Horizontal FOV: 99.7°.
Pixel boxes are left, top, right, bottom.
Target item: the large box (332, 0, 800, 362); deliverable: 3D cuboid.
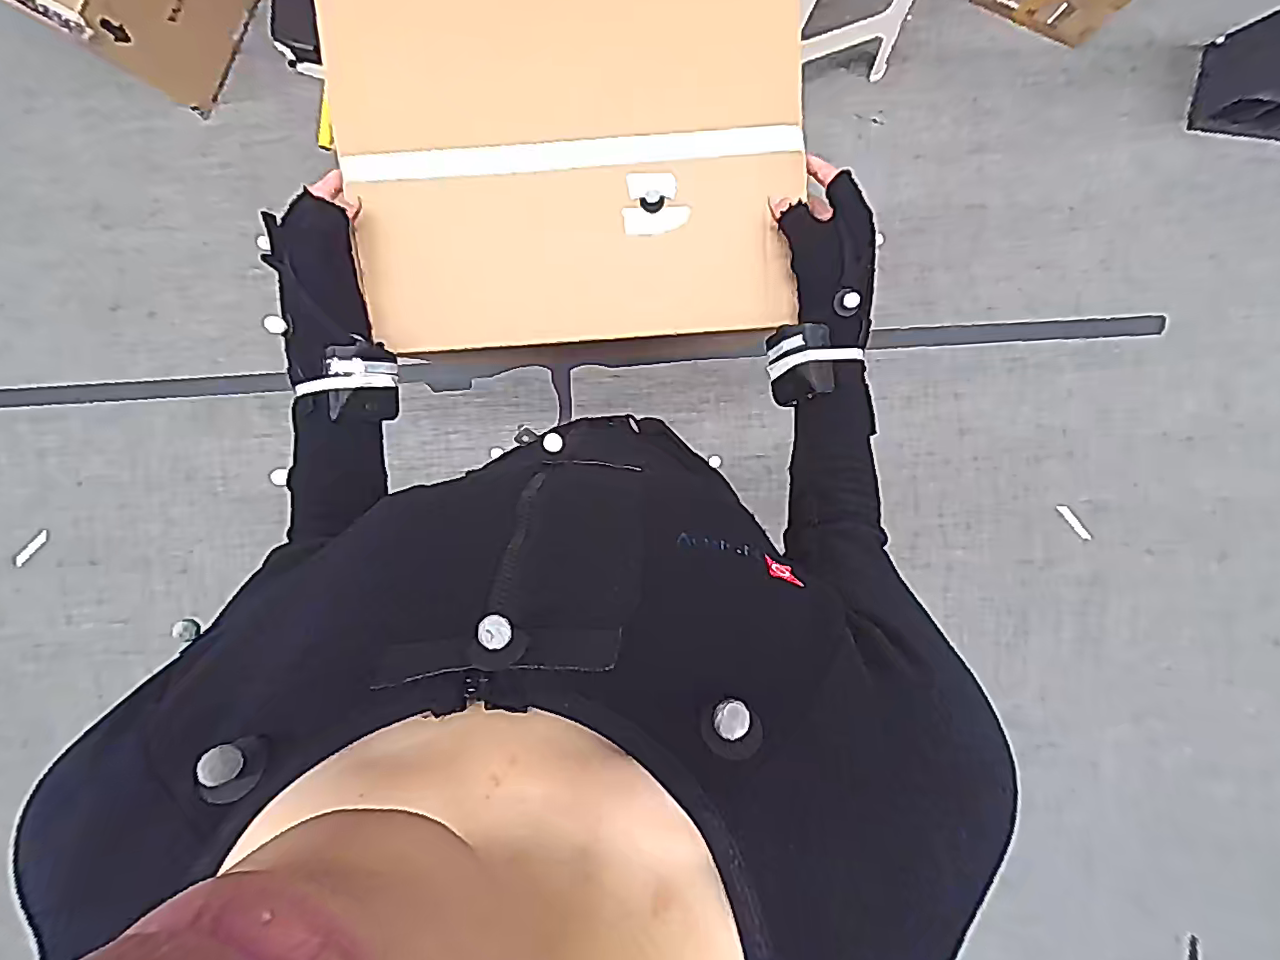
[{"bbox_3d":[-0.063,-0.317,0.633,0.408,0.320,0.320,-4,100,-1],"label":"large box"}]
